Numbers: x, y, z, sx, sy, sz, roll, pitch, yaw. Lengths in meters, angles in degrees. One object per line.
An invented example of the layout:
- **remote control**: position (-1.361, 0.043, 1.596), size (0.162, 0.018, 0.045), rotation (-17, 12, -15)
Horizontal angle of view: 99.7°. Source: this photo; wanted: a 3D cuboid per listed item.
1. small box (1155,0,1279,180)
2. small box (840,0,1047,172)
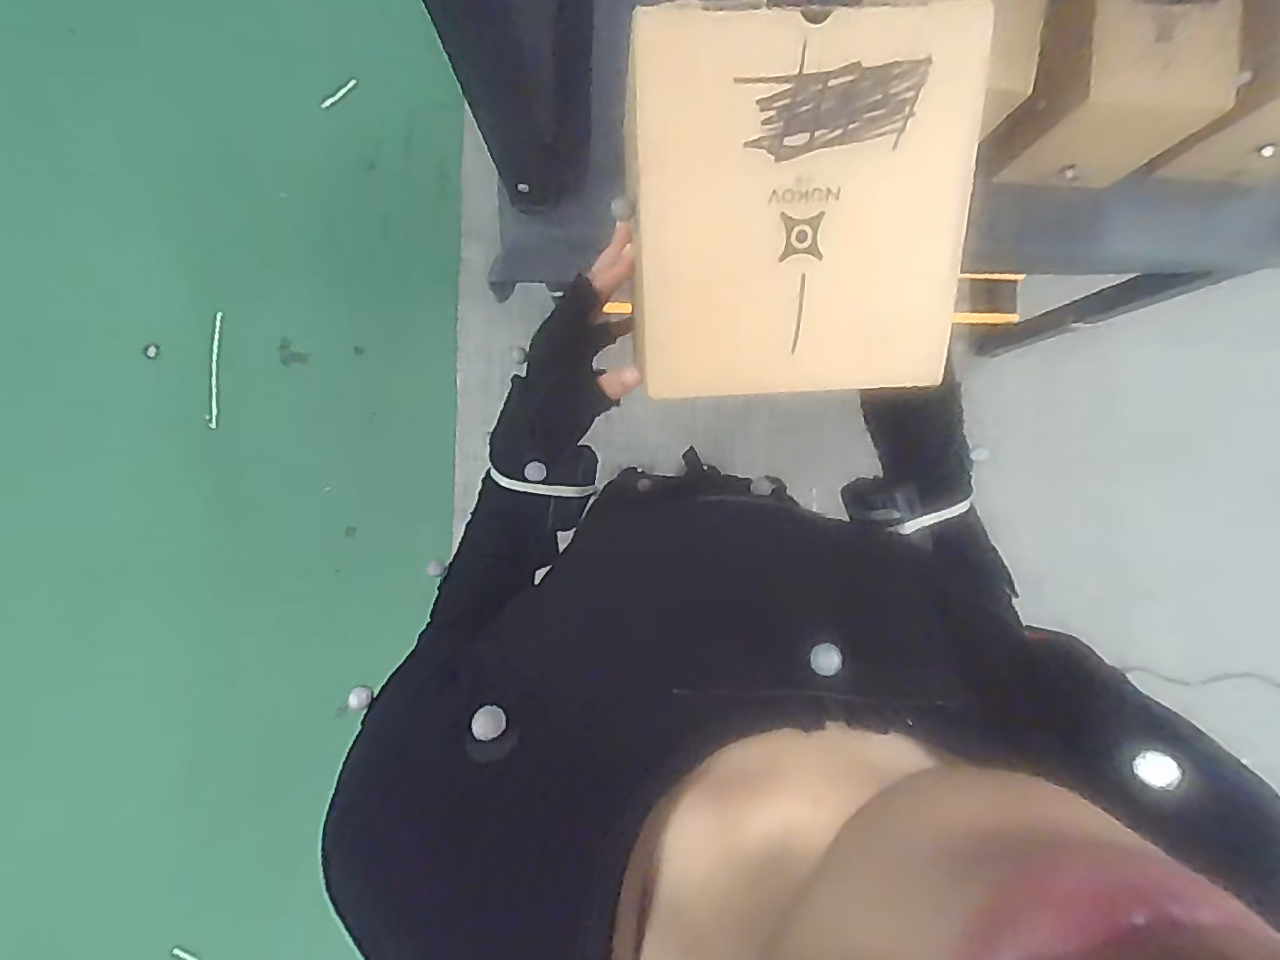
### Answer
- **small box**: position (0.810, -0.511, 0.683), size (0.168, 0.176, 0.179), rotation (4, 89, -1)
- **small box**: position (0.368, -0.525, 0.683), size (0.168, 0.176, 0.179), rotation (8, 90, -1)
